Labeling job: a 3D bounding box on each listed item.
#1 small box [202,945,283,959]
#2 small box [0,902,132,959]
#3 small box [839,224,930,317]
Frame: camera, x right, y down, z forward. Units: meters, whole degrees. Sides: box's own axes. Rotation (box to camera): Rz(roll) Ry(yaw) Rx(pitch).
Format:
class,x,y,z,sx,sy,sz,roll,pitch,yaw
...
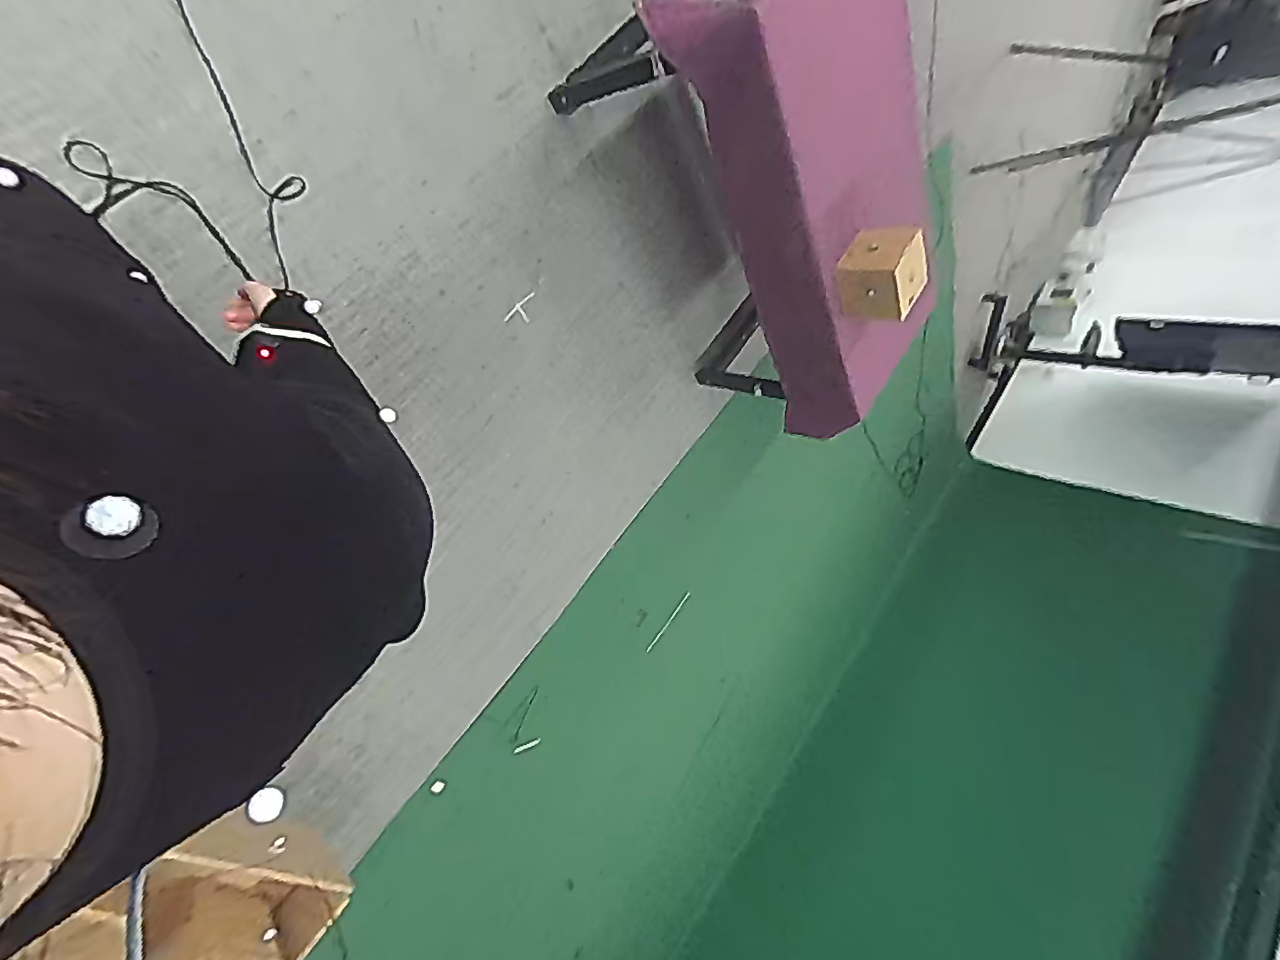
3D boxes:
class,x,y,z,sx,sy,sz,roll,pitch,yaw
small box,-0.672,0.897,0.849,0.179,0.176,0.168,-45,132,-23
small box,-0.768,0.665,0.657,0.168,0.176,0.179,-45,132,-23
small box,0.666,-0.567,1.477,0.168,0.176,0.179,-54,135,-15
